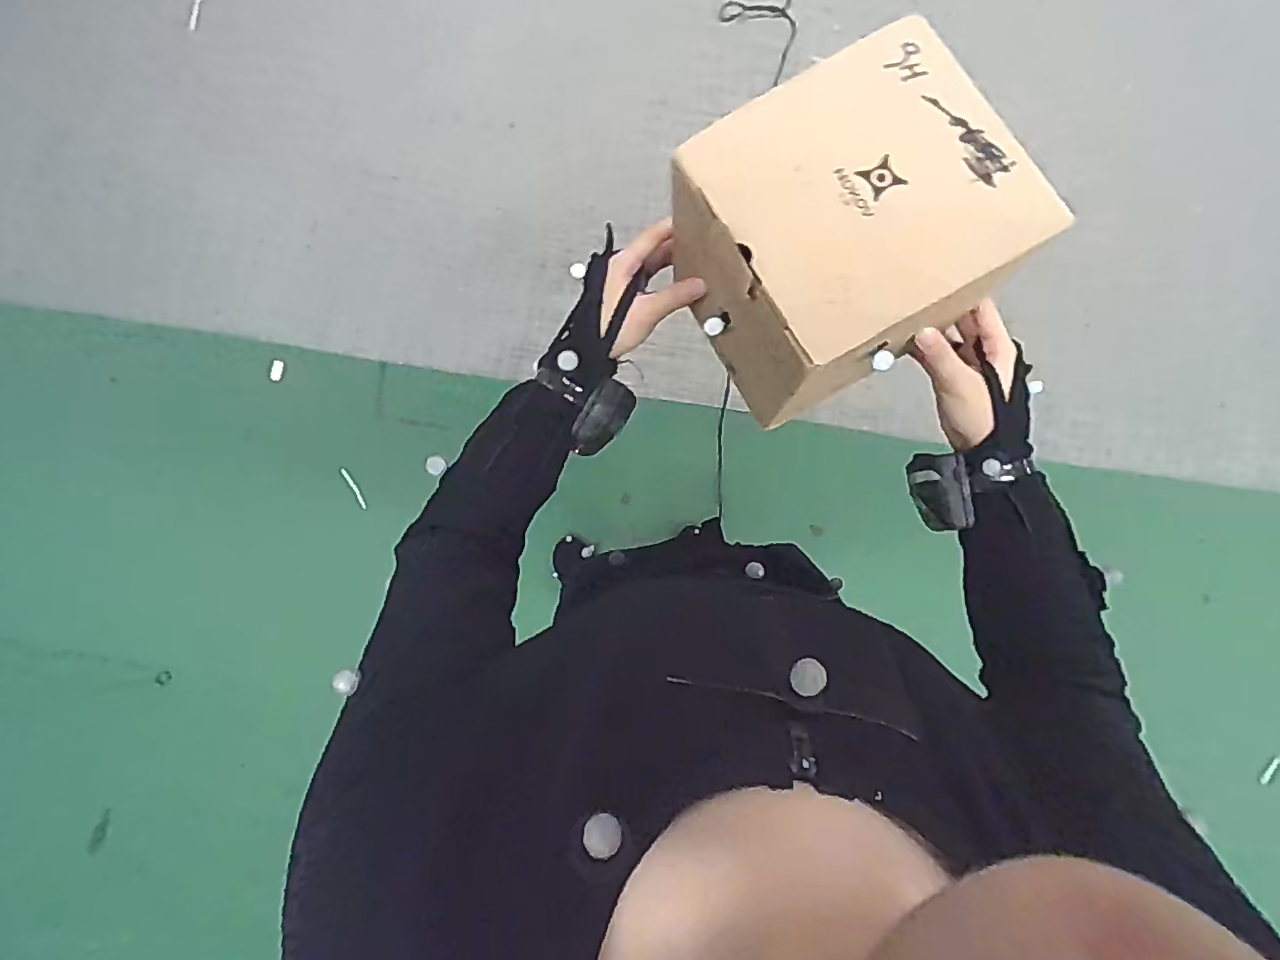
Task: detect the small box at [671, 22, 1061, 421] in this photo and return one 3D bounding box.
[{"bbox_3d":[0.139,-0.164,0.404,0.179,0.176,0.168,-29,82,1],"label":"small box"}]
